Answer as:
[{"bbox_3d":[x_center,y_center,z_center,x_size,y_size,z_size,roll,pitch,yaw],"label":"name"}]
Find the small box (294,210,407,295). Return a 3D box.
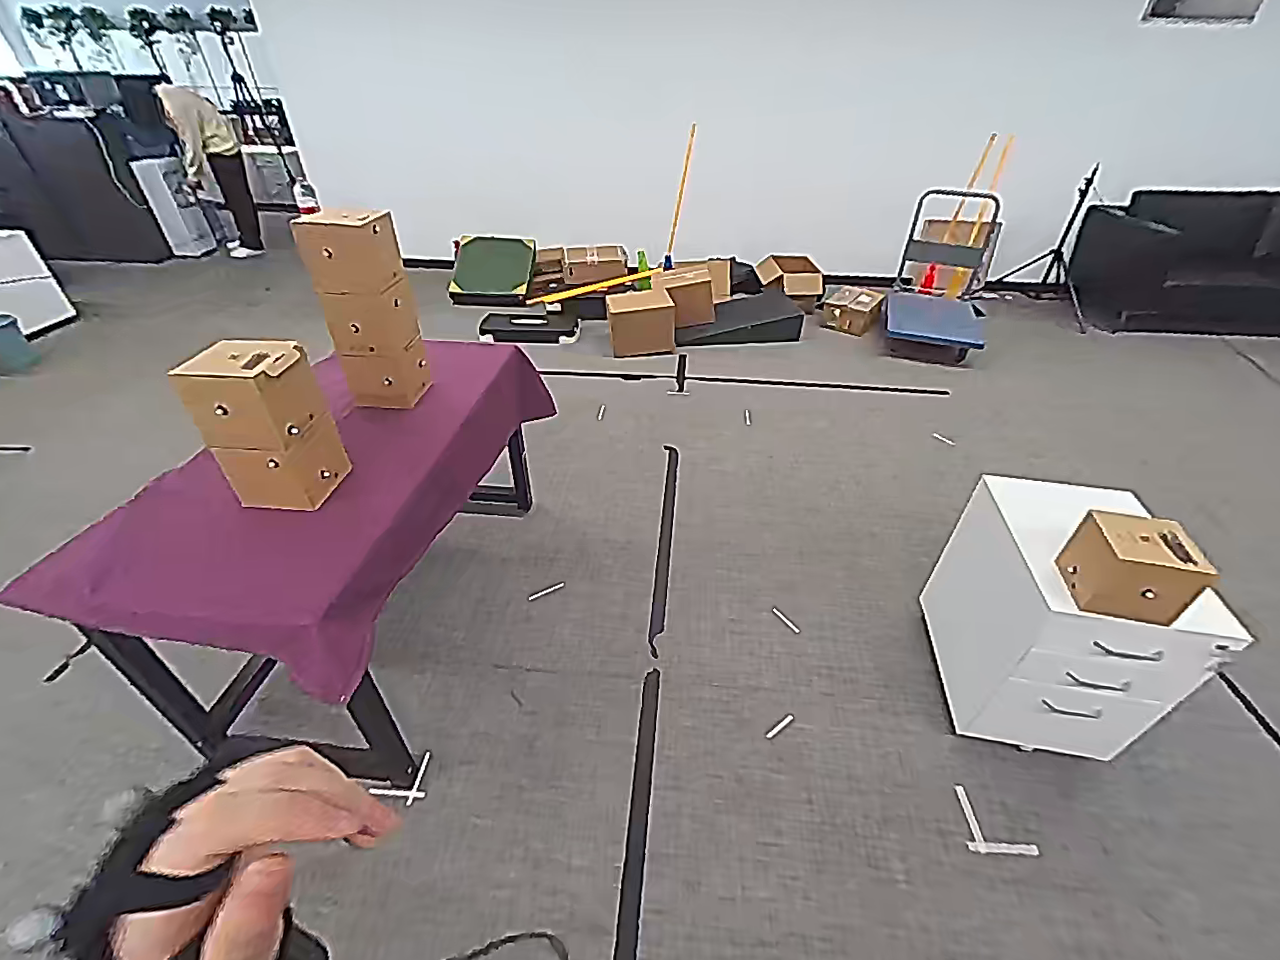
[{"bbox_3d":[-0.731,-0.583,1.387,0.179,0.176,0.168,4,38,4],"label":"small box"}]

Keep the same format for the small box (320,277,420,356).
[{"bbox_3d":[-0.728,-0.450,1.483,0.168,0.176,0.179,4,37,3],"label":"small box"}]

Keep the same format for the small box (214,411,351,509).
[{"bbox_3d":[-0.802,-0.048,1.235,0.179,0.176,0.168,4,38,3],"label":"small box"}]

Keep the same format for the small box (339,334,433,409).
[{"bbox_3d":[-0.732,-0.321,1.585,0.179,0.176,0.168,4,38,4],"label":"small box"}]

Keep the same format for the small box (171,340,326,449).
[{"bbox_3d":[-0.801,-0.178,1.133,0.179,0.176,0.168,3,37,2],"label":"small box"}]
